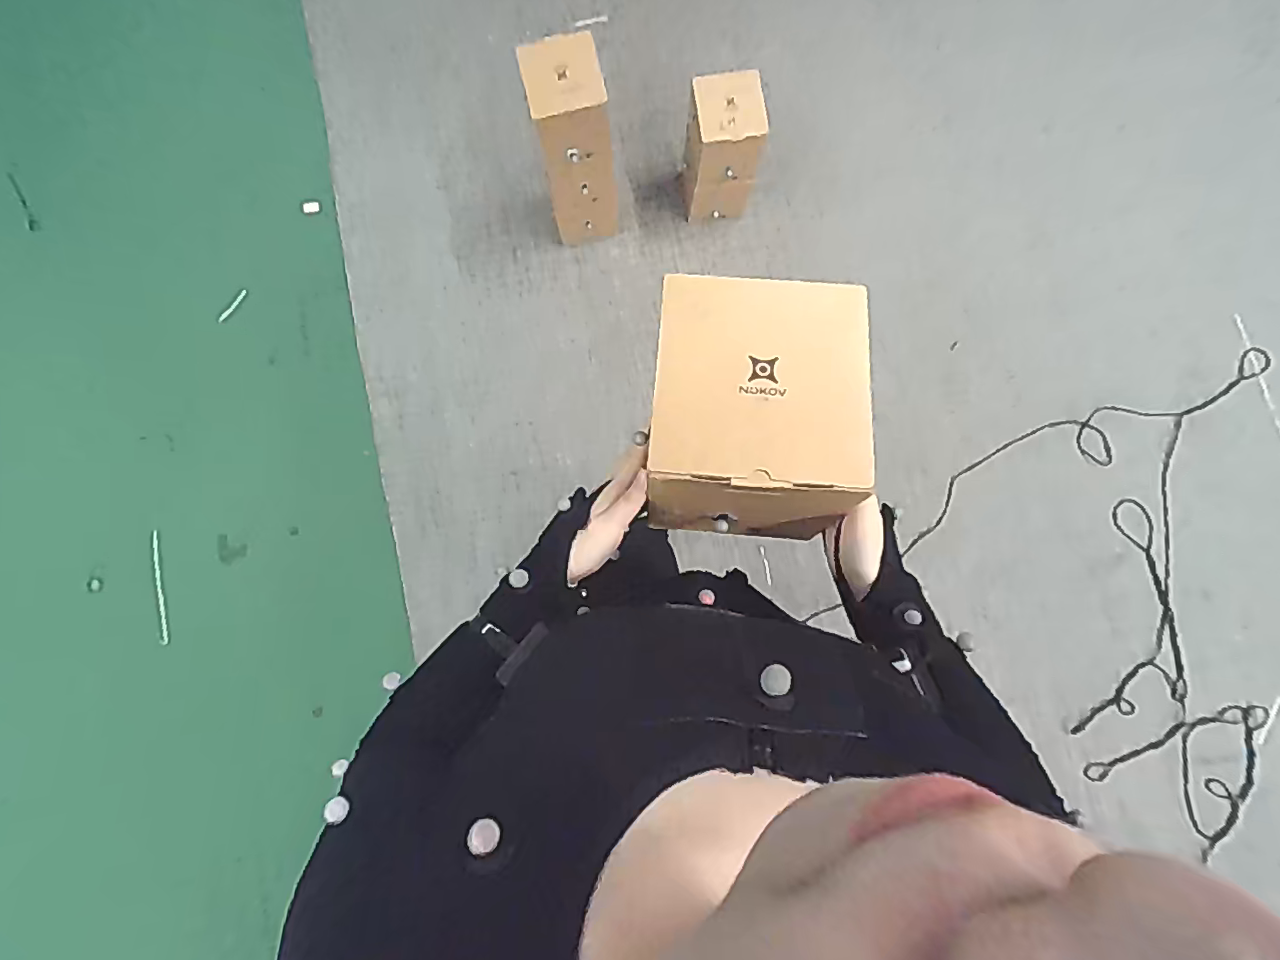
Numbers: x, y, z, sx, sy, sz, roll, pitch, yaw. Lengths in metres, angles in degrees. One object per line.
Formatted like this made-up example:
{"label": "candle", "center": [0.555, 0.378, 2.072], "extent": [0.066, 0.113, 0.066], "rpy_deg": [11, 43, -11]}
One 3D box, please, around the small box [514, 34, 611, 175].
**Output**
{"label": "small box", "center": [-0.167, -0.829, 1.208], "extent": [0.168, 0.176, 0.179], "rpy_deg": [-15, 84, 0]}

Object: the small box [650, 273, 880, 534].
{"label": "small box", "center": [0.098, -0.058, 0.492], "extent": [0.168, 0.176, 0.179], "rpy_deg": [4, 73, 1]}

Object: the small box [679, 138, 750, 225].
{"label": "small box", "center": [0.206, -0.862, 1.542], "extent": [0.168, 0.176, 0.179], "rpy_deg": [-7, 84, -1]}

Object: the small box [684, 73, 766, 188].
{"label": "small box", "center": [0.209, -0.884, 1.379], "extent": [0.168, 0.176, 0.179], "rpy_deg": [-8, 84, -1]}

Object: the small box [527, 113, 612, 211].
{"label": "small box", "center": [-0.171, -0.814, 1.370], "extent": [0.168, 0.176, 0.179], "rpy_deg": [-15, 84, -2]}
